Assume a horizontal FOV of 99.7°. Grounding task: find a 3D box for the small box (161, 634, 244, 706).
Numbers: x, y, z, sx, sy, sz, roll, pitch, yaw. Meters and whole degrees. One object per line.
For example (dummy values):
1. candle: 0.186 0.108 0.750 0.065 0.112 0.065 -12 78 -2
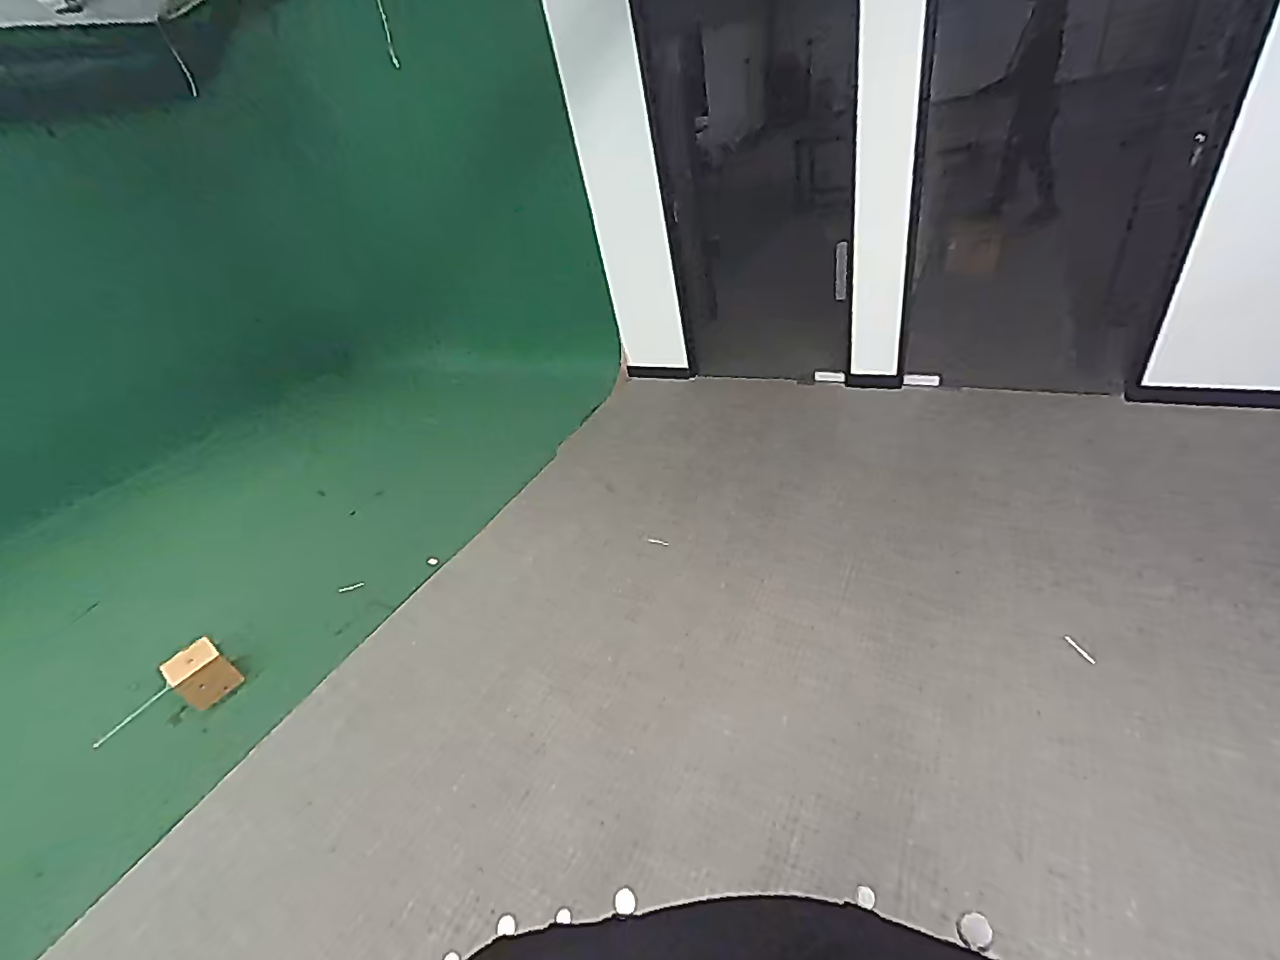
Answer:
1. small box: -1.657 0.728 2.056 0.179 0.176 0.168 16 44 35
